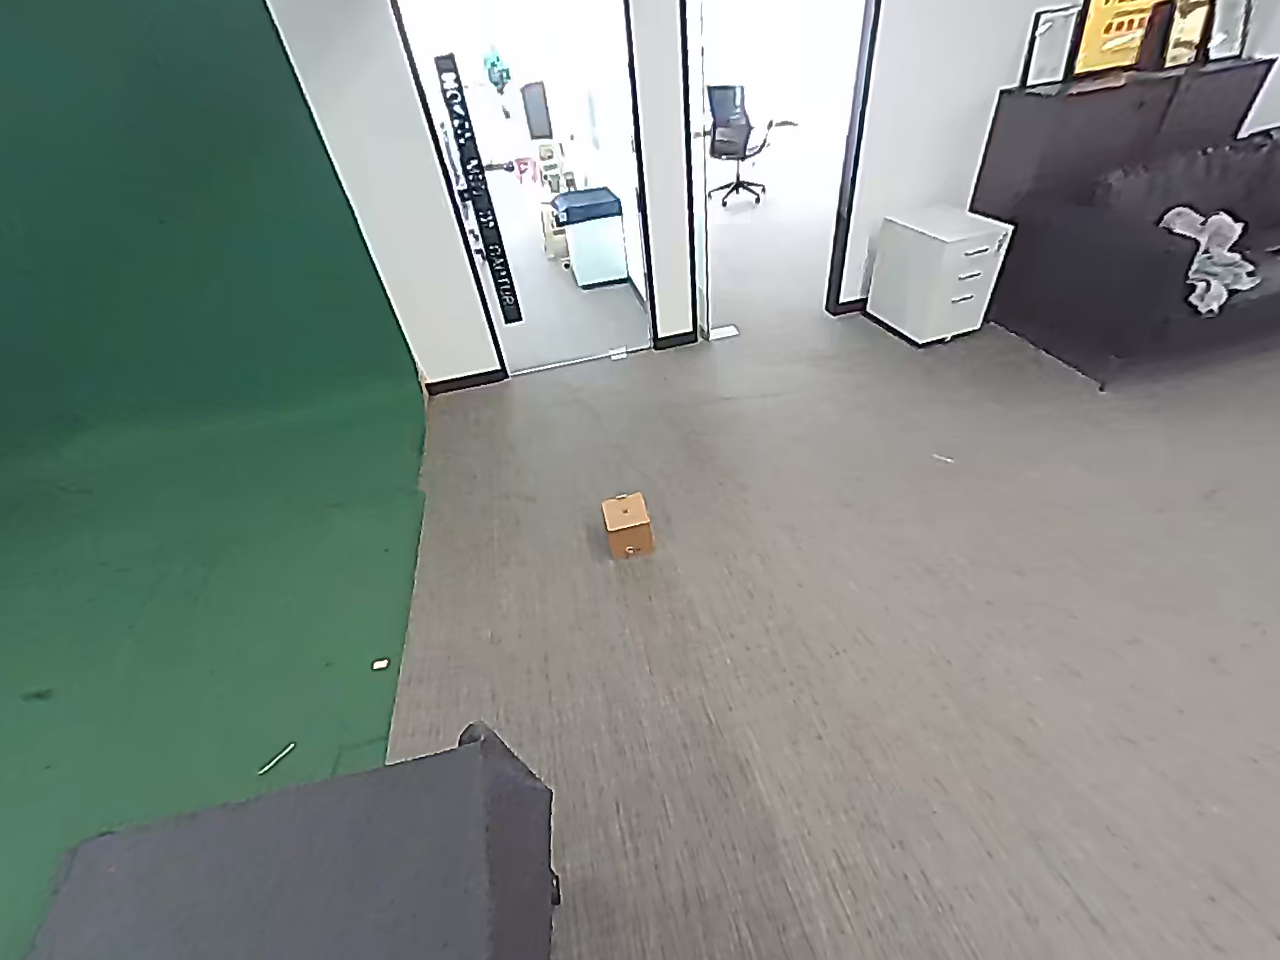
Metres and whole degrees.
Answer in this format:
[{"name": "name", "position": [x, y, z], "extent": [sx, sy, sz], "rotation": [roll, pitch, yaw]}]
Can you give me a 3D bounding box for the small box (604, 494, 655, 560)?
[{"name": "small box", "position": [-0.041, 0.185, 2.120], "extent": [0.168, 0.176, 0.179], "rotation": [-12, 40, -2]}]
